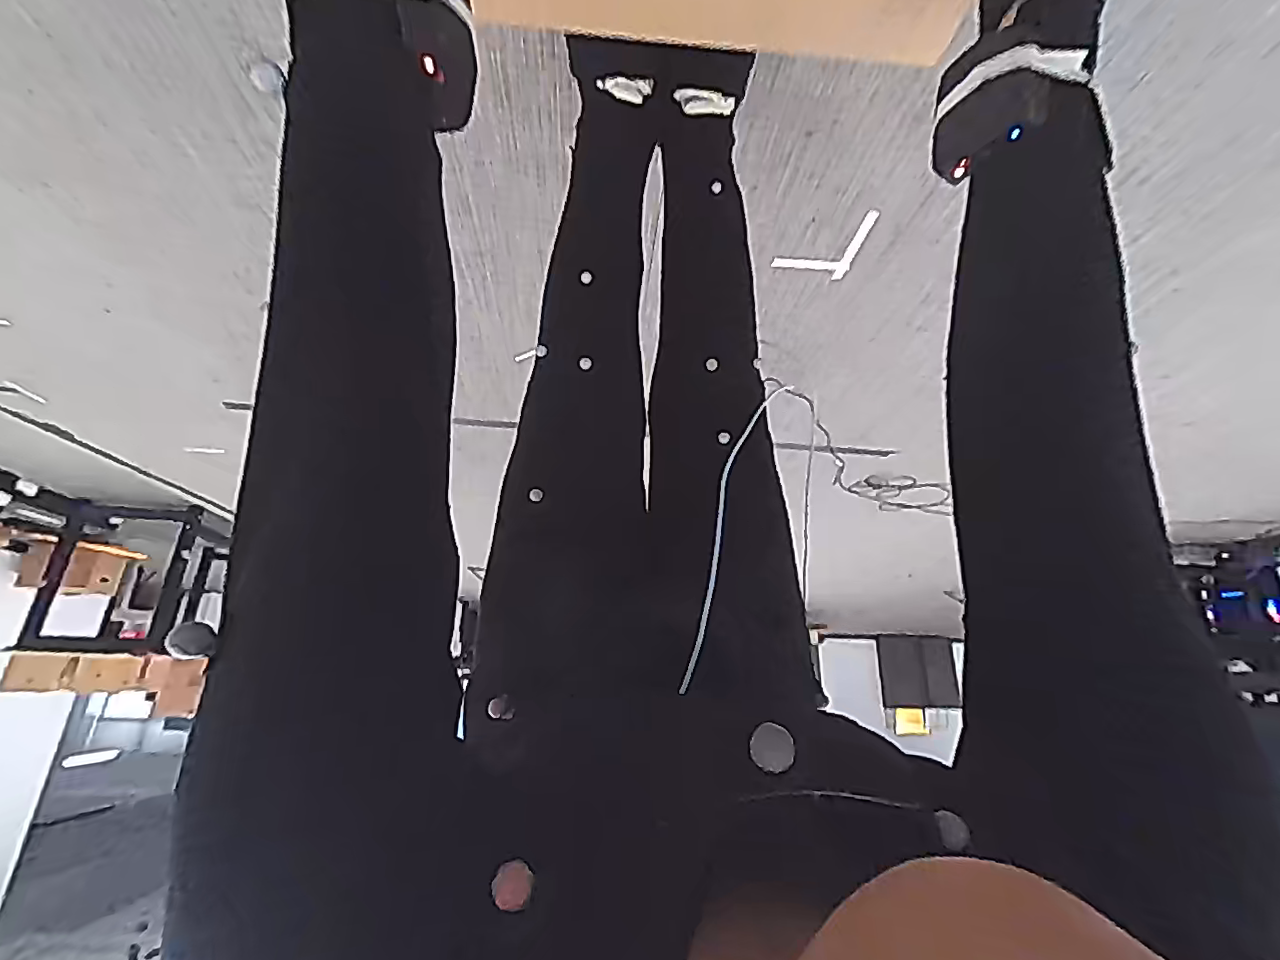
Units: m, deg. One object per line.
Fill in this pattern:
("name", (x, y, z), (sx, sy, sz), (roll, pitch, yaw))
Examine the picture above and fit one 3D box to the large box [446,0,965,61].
("large box", (0.057, -0.549, 0.354), (0.408, 0.320, 0.320), (2, 159, -4))
